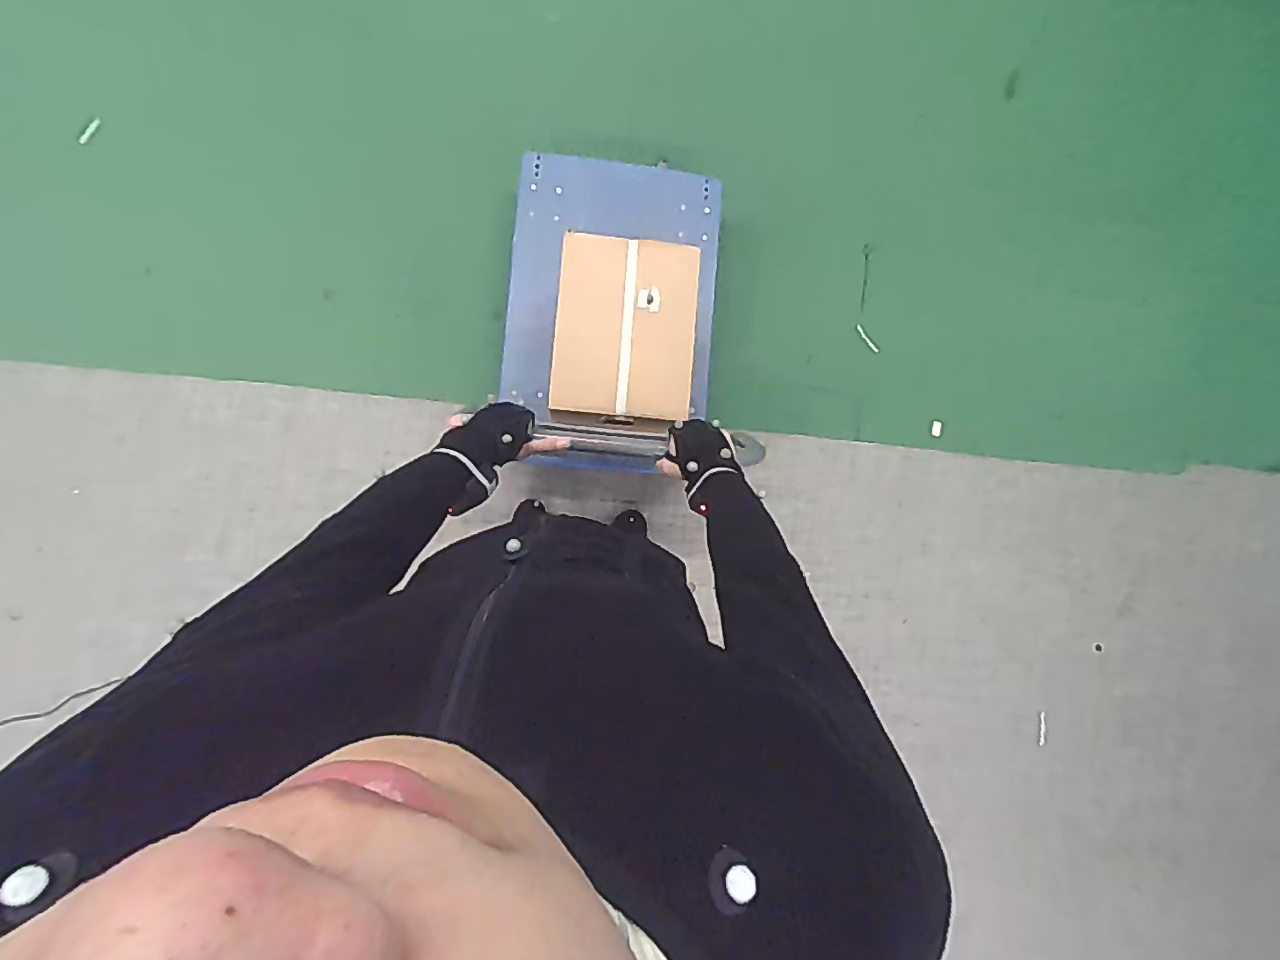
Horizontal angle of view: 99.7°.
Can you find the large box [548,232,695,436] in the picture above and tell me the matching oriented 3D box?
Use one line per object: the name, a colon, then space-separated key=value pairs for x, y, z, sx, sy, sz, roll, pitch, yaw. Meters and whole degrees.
large box: x=-0.052 y=-0.335 z=1.350 sx=0.320 sy=0.320 sz=0.408 roll=4 pitch=86 yaw=-7
